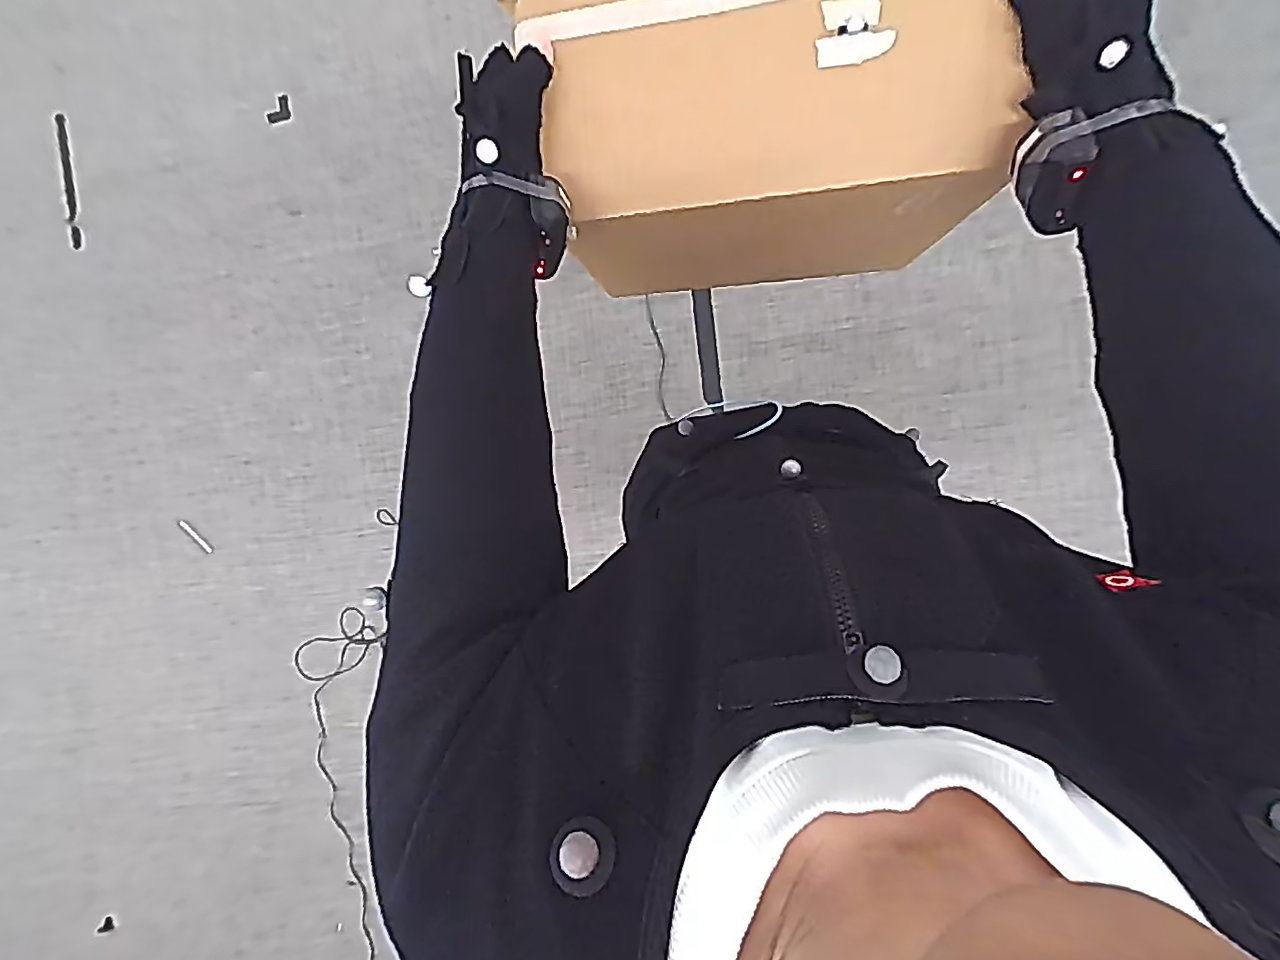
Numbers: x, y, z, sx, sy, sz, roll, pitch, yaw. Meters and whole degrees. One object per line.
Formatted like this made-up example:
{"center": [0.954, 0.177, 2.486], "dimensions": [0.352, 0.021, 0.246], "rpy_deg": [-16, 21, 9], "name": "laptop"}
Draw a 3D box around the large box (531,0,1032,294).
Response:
{"center": [0.122, -0.414, 0.589], "dimensions": [0.408, 0.320, 0.320], "rpy_deg": [-4, 97, 8], "name": "large box"}
